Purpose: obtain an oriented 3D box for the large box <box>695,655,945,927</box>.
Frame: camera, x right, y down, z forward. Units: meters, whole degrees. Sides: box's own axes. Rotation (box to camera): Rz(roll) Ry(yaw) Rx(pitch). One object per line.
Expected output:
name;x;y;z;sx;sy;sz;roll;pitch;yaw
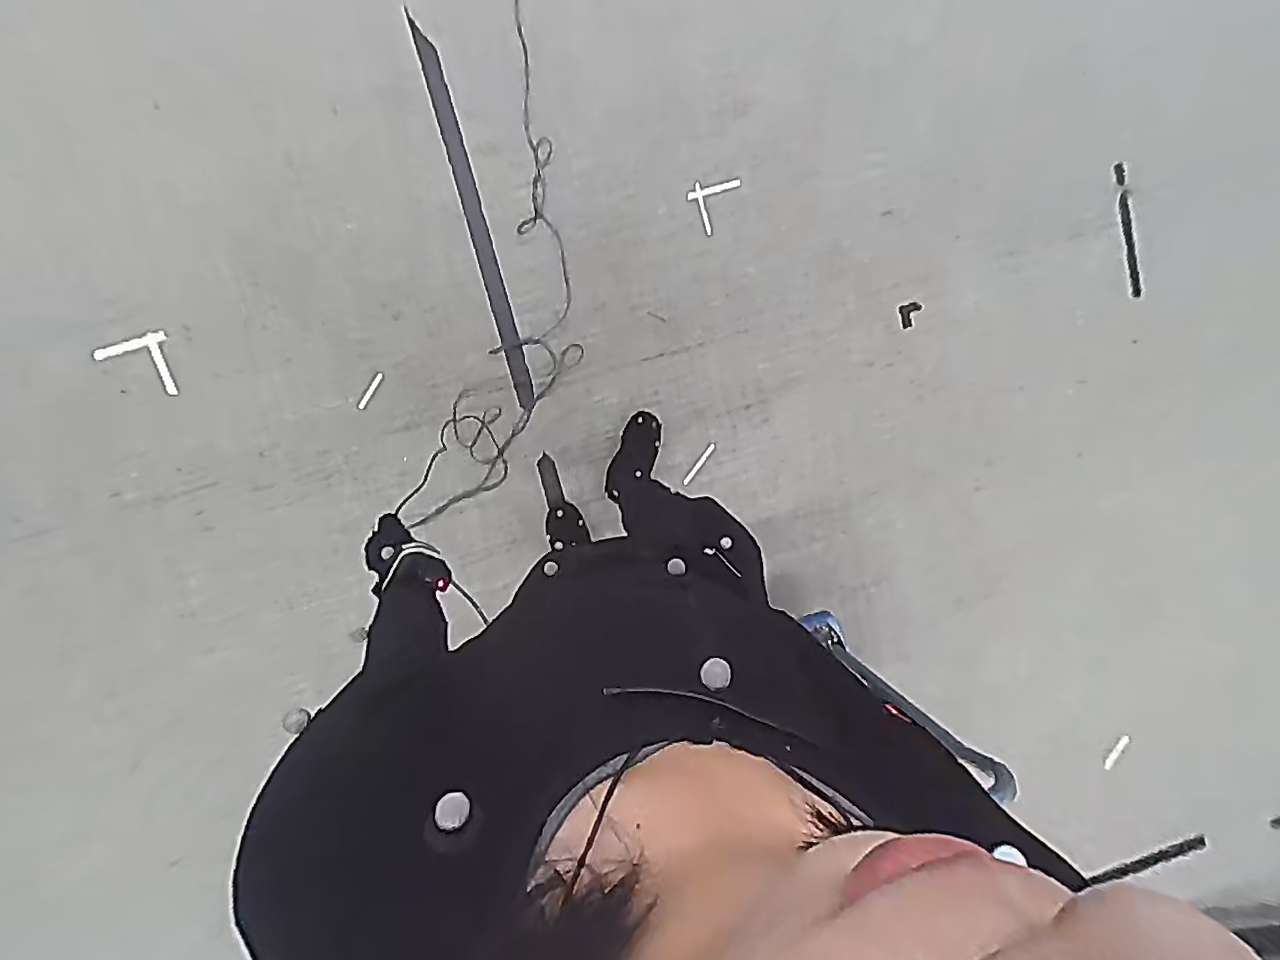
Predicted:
large box;0.399;0.700;1.280;0.408;0.320;0.320;-34;96;-2
